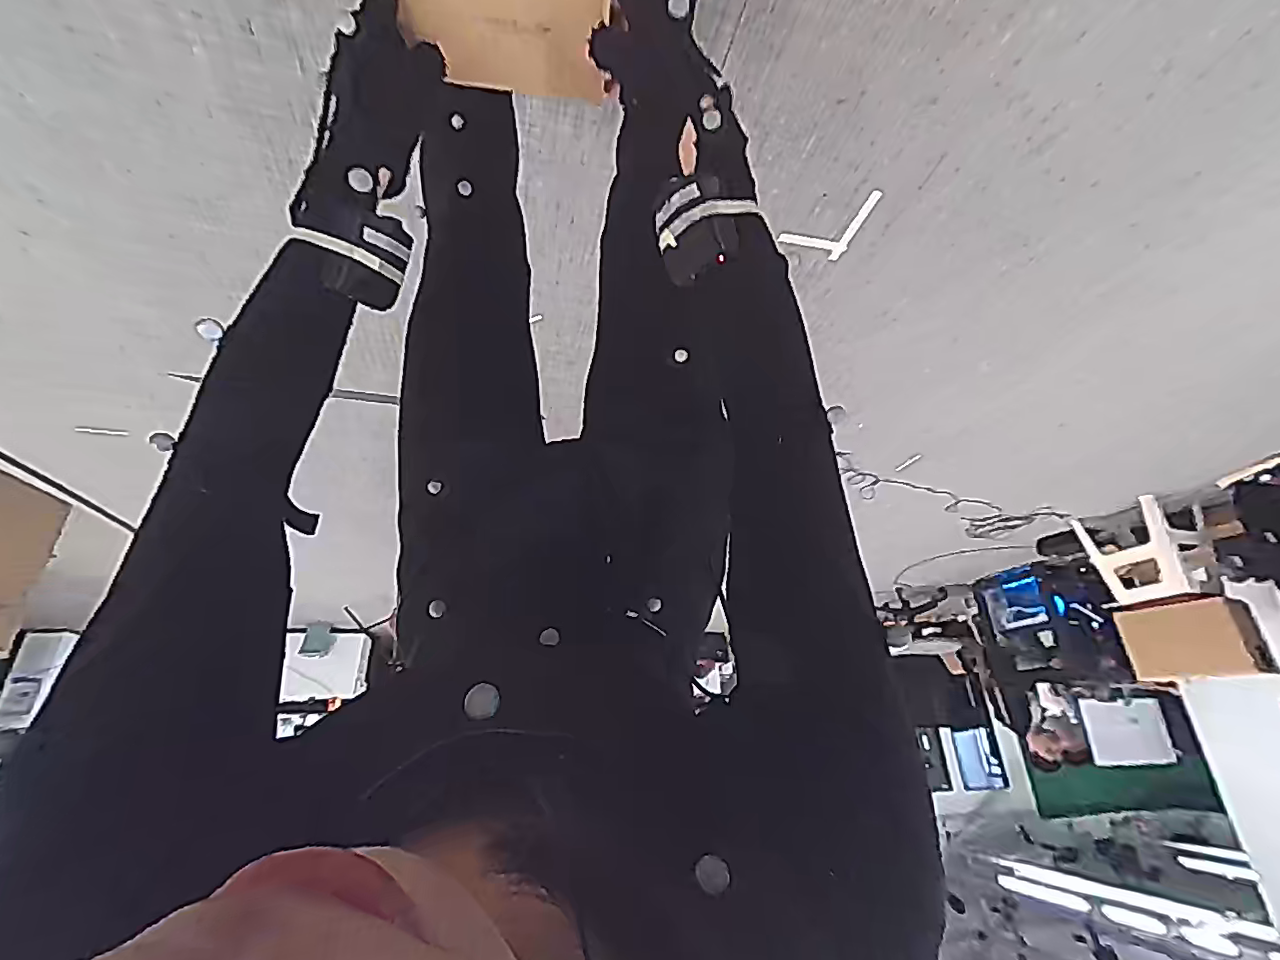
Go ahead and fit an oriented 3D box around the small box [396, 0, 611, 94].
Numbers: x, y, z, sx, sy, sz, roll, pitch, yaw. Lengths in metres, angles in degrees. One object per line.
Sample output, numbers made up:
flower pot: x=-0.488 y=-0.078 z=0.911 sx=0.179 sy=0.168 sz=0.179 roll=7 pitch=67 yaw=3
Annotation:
small box: x=-0.109 y=-0.451 z=0.448 sx=0.168 sy=0.176 sz=0.179 roll=1 pitch=135 yaw=-10
